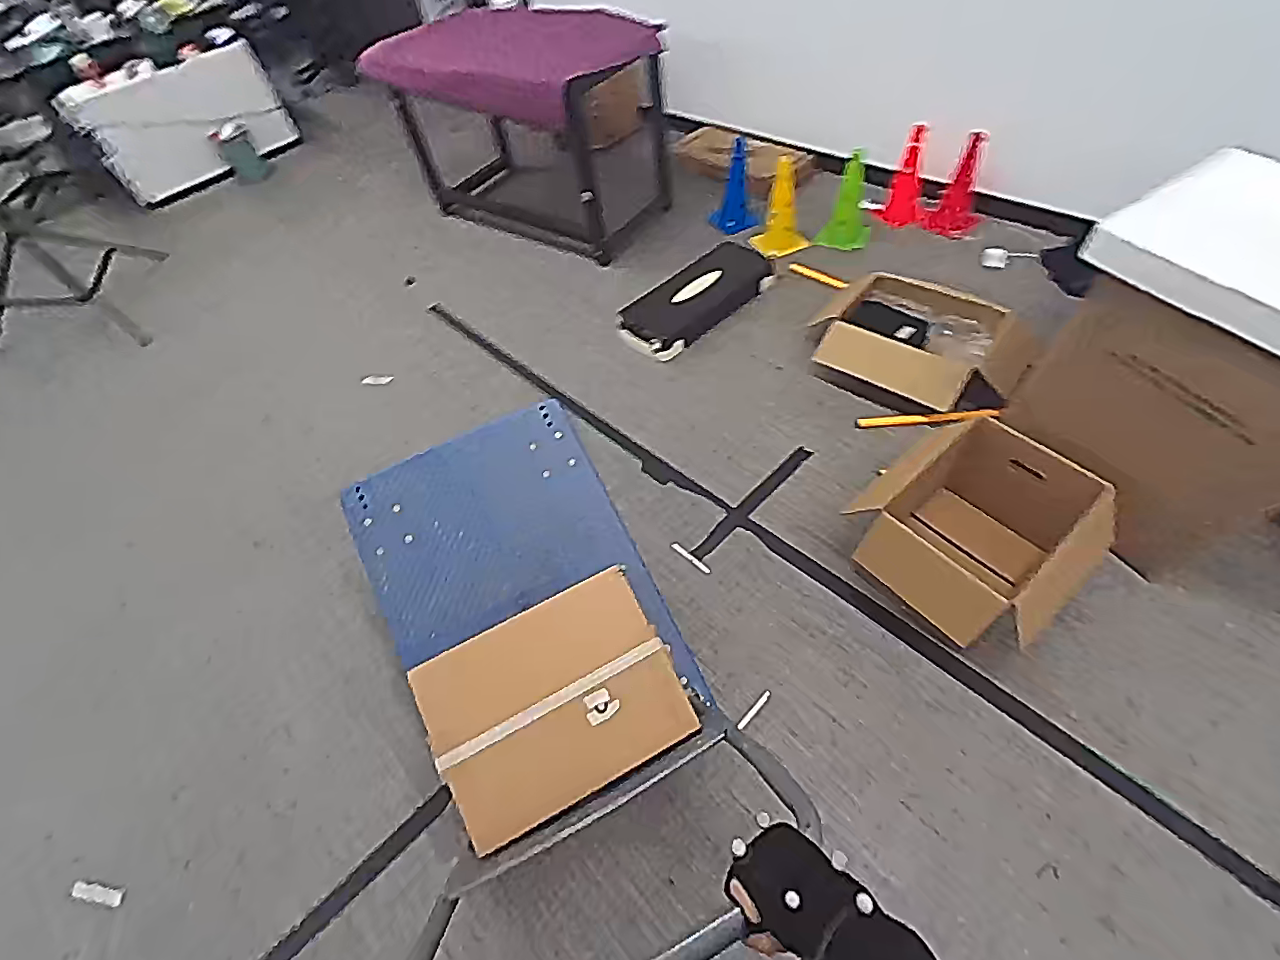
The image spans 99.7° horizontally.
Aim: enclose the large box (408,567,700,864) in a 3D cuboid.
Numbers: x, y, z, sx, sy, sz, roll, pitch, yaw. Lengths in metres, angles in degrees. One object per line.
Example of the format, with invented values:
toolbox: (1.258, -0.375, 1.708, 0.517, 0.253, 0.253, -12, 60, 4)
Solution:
large box: (-0.152, 0.417, 1.036, 0.408, 0.320, 0.320, -26, 77, -12)
